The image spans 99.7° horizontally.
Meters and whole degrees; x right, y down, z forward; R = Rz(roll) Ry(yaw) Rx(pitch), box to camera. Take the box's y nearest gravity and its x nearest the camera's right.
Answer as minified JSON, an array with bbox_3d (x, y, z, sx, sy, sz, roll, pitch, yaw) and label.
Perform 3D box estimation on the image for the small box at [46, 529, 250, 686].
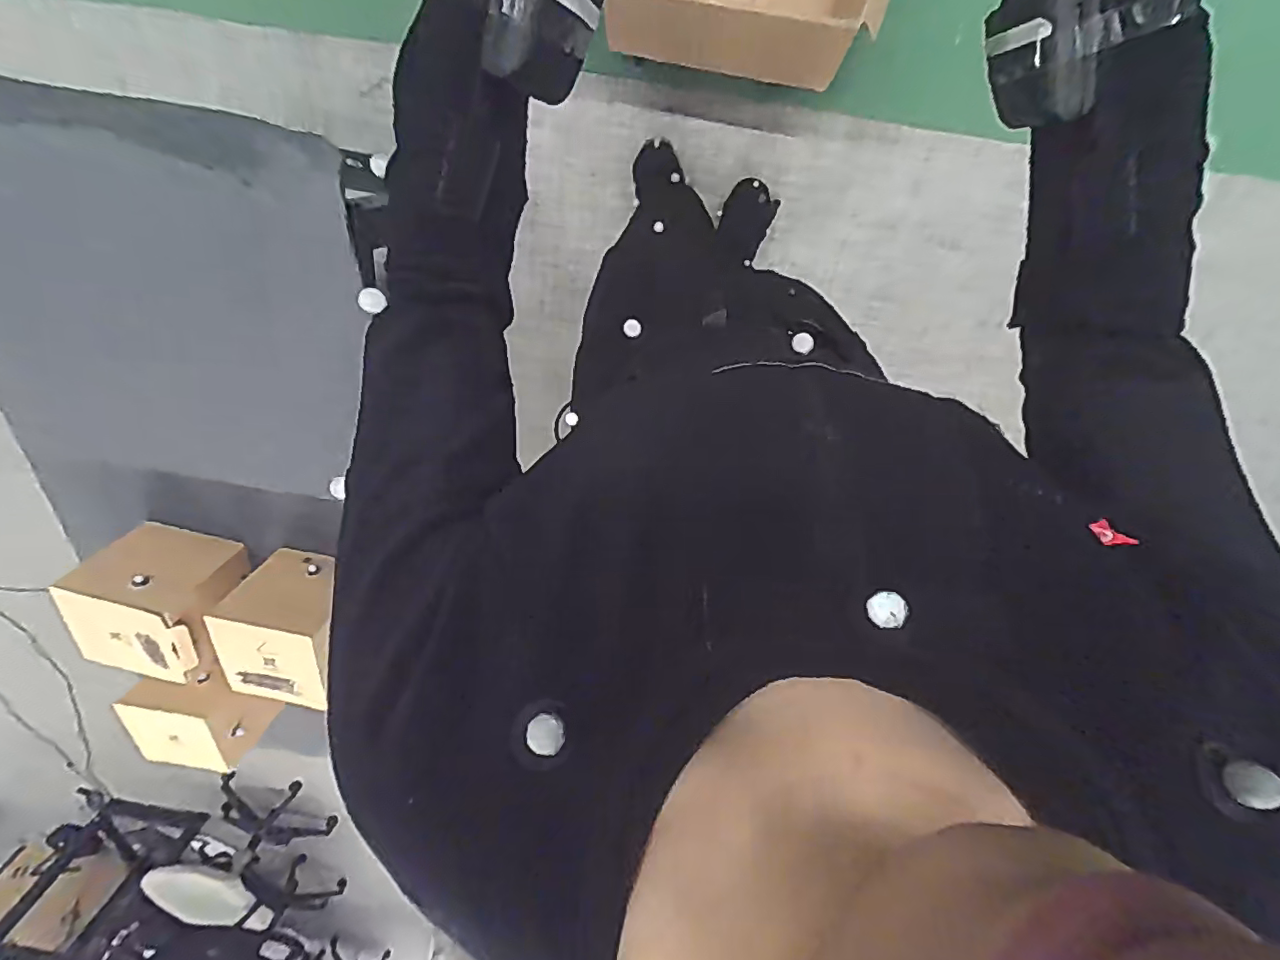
[{"bbox_3d":[-0.785,0.204,0.893,0.179,0.176,0.168,15,121,-1],"label":"small box"}]
